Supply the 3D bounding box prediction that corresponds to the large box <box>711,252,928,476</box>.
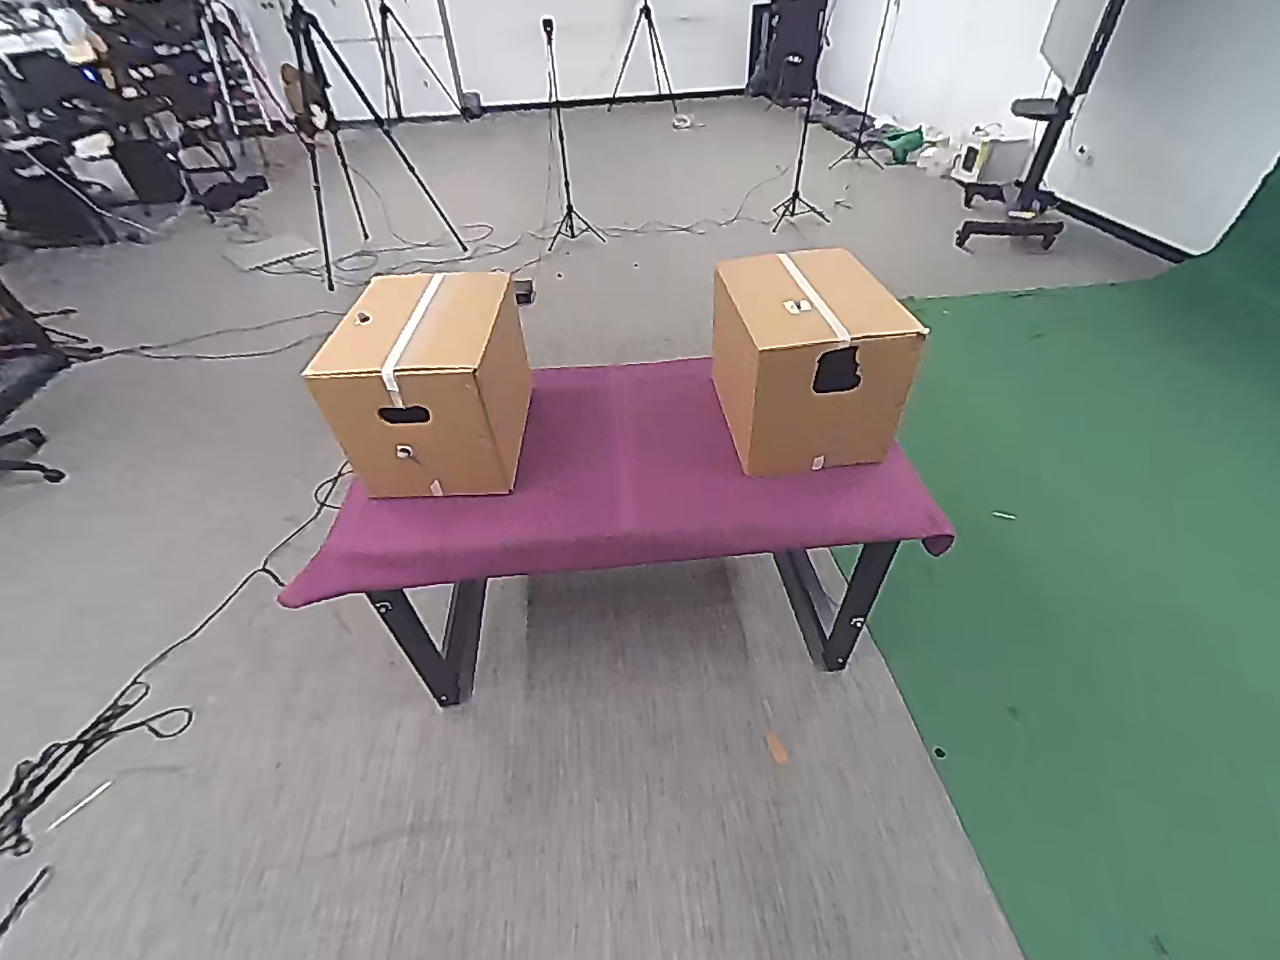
[{"bbox_3d":[0.352,-0.266,1.205,0.320,0.320,0.408,-7,44,-1],"label":"large box"}]
